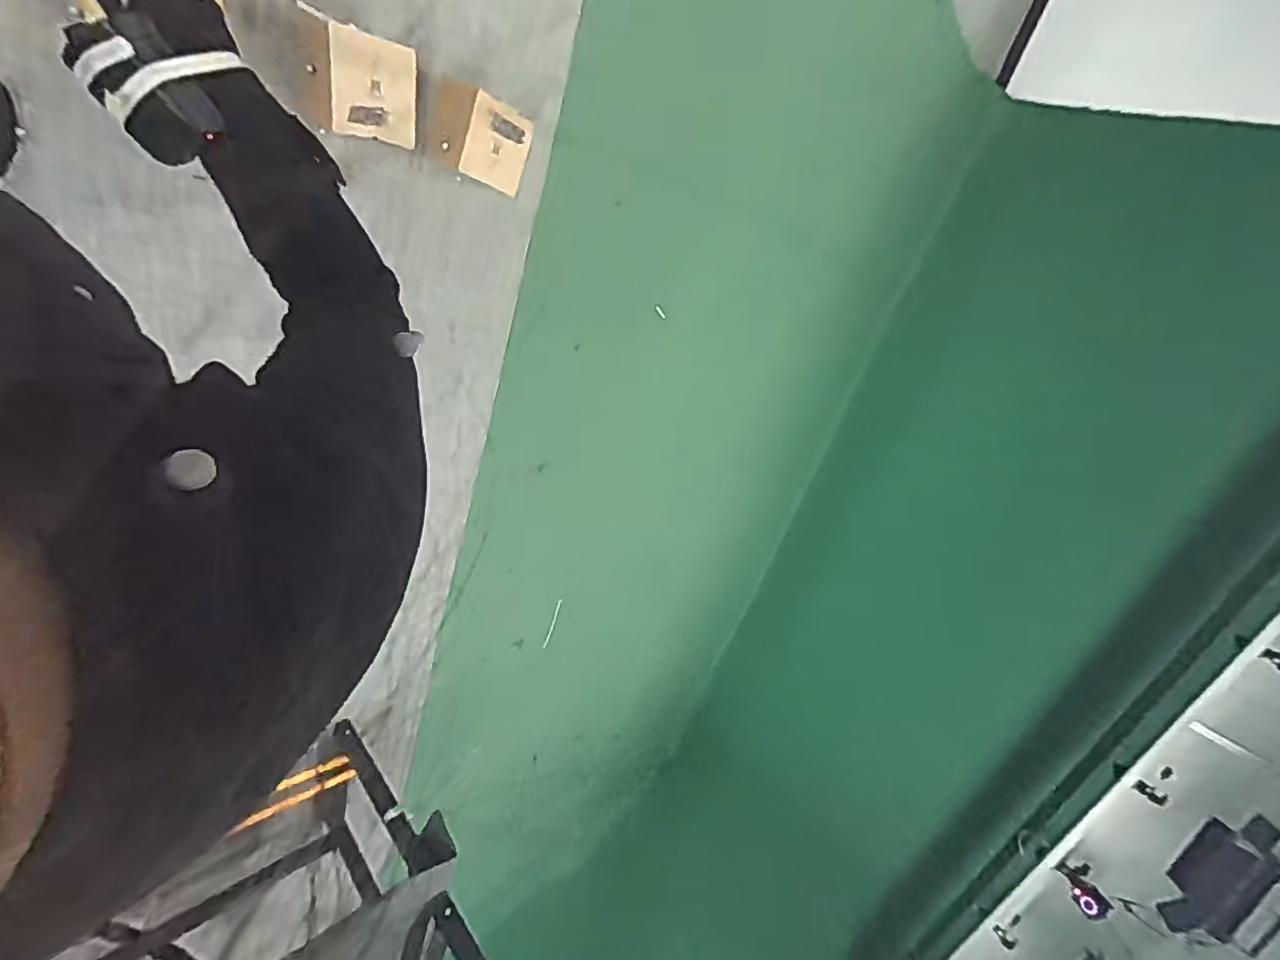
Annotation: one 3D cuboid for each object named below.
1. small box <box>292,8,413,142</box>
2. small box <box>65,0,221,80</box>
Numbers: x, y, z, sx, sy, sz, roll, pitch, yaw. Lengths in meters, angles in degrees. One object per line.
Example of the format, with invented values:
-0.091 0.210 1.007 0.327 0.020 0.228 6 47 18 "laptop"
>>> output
-0.576 -0.808 1.085 0.168 0.176 0.179 -18 131 -45 "small box"
-0.785 -0.768 0.849 0.168 0.176 0.179 -12 129 -47 "small box"
